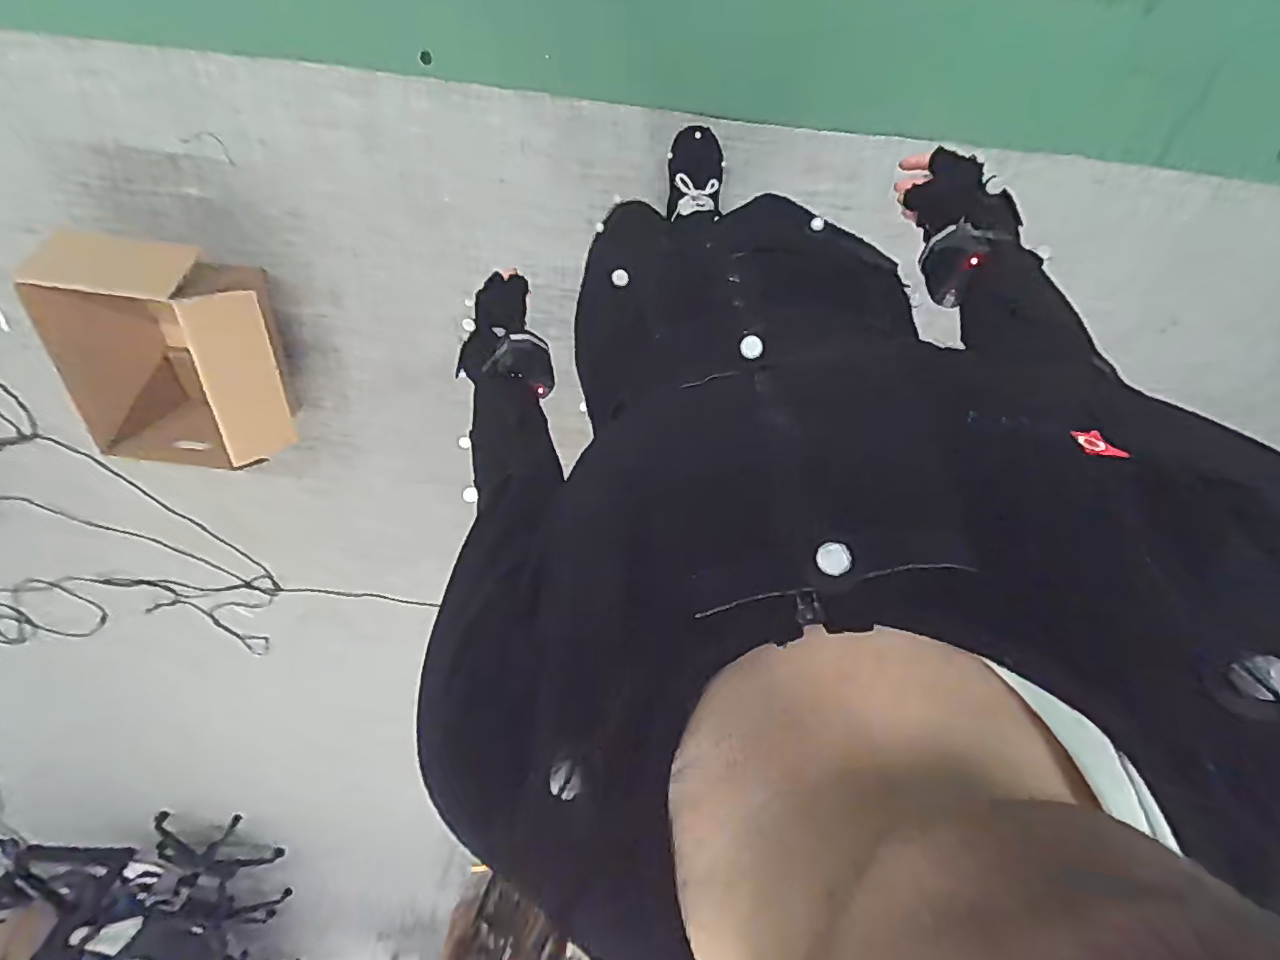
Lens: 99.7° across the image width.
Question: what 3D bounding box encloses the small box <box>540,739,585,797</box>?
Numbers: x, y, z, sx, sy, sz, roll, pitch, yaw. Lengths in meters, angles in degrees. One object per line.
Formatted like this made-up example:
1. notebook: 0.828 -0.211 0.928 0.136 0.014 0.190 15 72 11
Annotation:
1. small box: -0.338 1.258 2.370 0.179 0.176 0.168 4 122 -3
